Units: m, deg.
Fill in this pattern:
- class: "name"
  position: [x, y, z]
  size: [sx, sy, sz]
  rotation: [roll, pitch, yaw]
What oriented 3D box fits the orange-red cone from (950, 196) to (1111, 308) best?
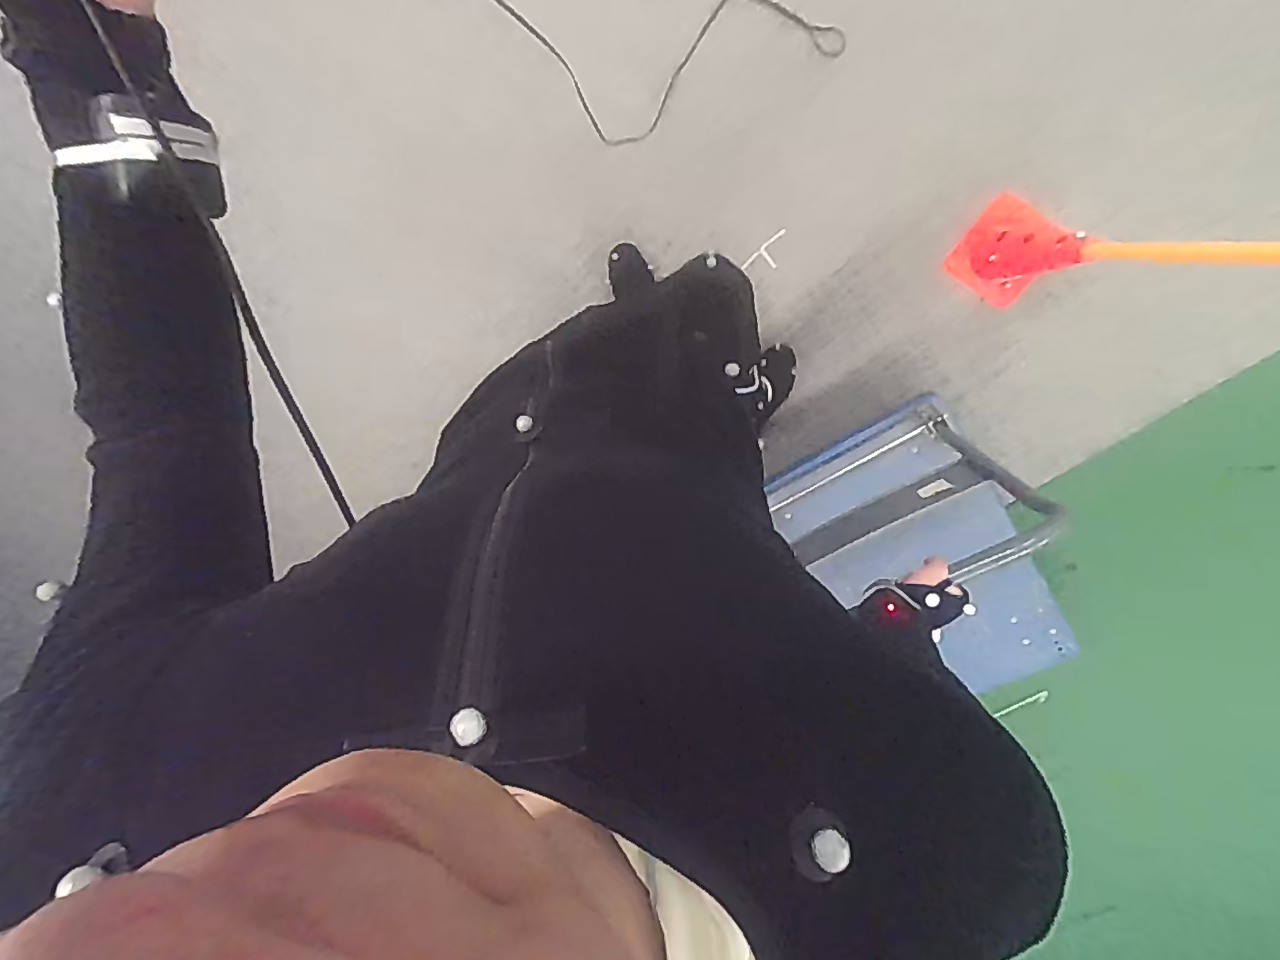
- class: "orange-red cone"
  position: [0.853, -0.478, 1.133]
  size: [0.198, 0.360, 0.199]
  rotation: [34, 112, -6]
